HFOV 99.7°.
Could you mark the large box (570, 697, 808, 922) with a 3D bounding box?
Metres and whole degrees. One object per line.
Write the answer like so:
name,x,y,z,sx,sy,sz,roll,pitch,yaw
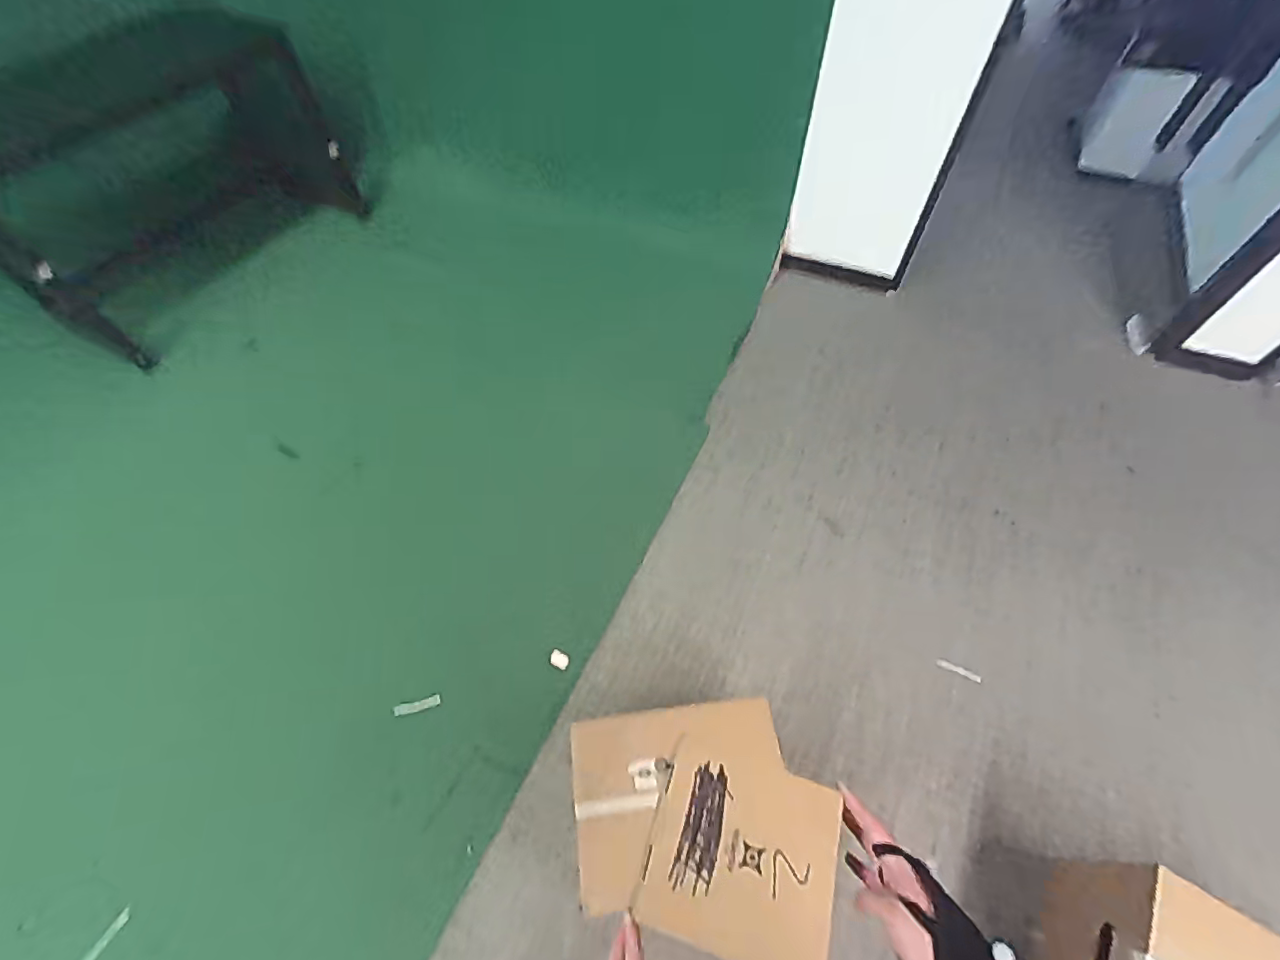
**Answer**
large box,0.086,0.676,1.134,0.408,0.320,0.320,-8,56,-2
